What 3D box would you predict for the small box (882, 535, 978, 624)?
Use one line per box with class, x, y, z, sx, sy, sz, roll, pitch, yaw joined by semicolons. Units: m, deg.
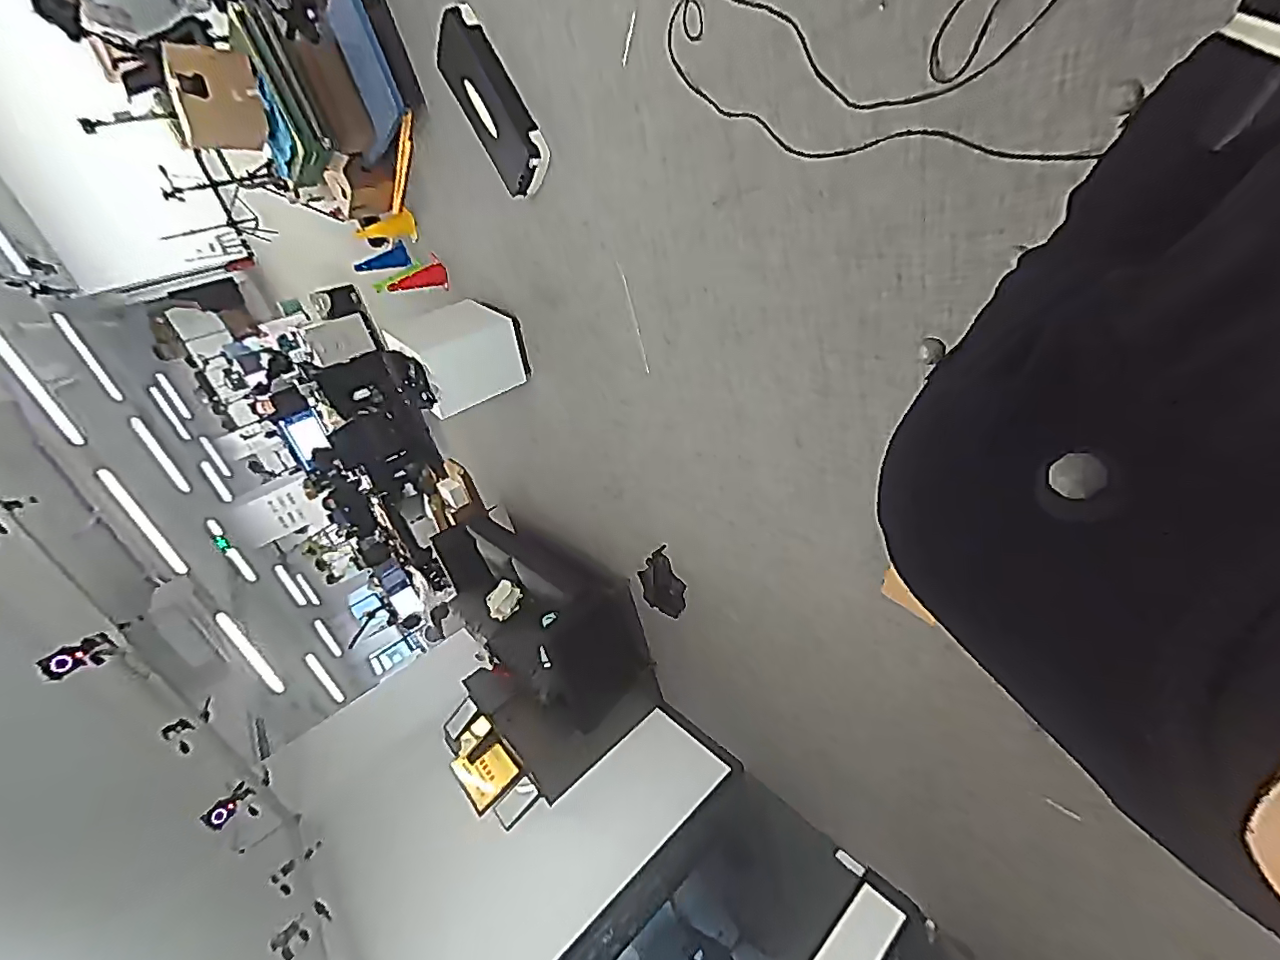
small box;0.872;0.290;1.628;0.179;0.176;0.168;35;144;35
